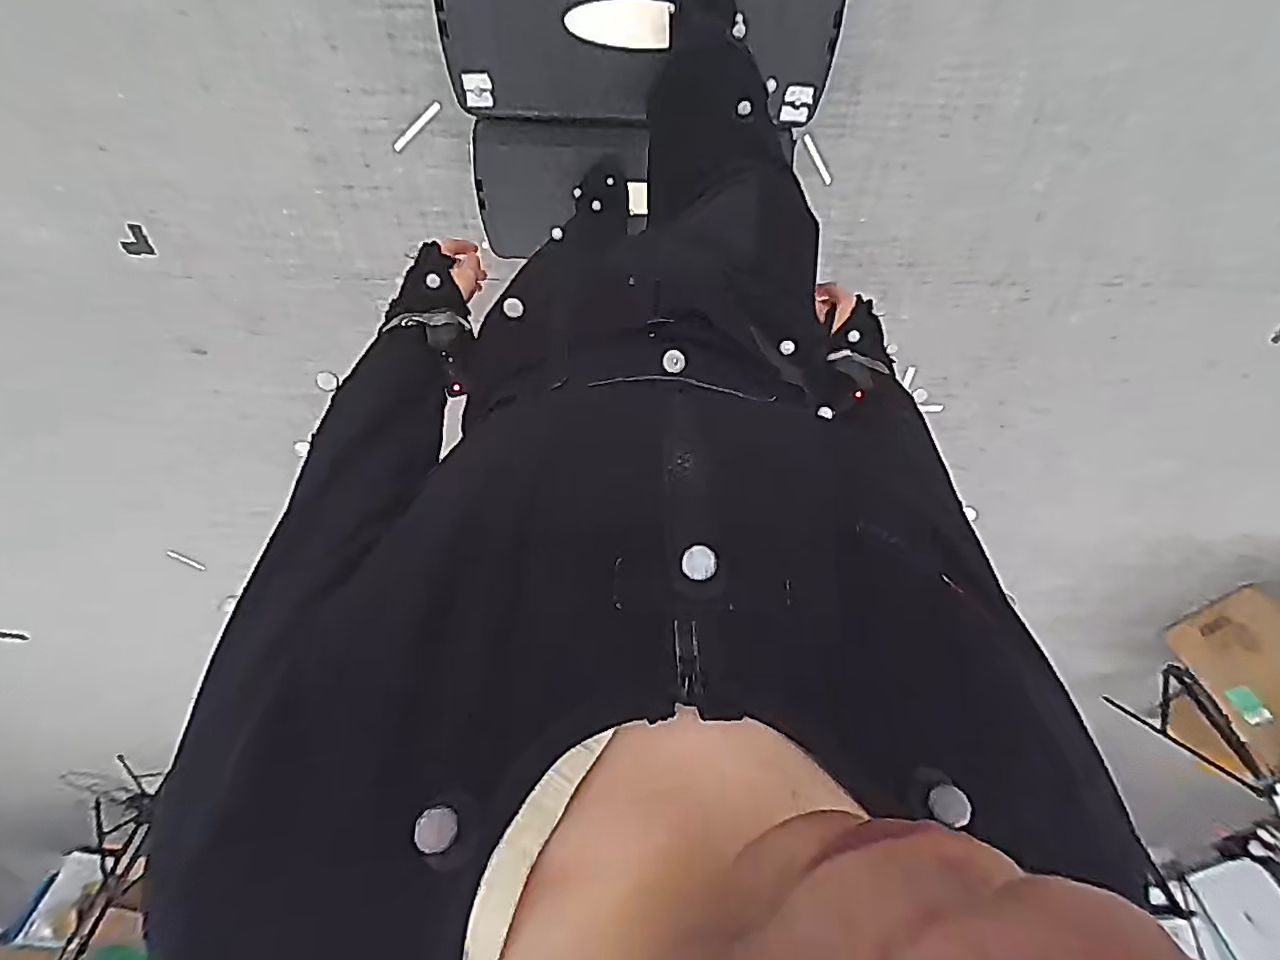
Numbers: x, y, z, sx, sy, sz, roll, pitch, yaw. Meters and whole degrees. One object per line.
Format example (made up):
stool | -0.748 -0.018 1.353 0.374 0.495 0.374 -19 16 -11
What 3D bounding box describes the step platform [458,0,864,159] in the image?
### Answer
step platform | 0.031 -0.783 0.974 0.684 0.204 0.286 3 131 -6
